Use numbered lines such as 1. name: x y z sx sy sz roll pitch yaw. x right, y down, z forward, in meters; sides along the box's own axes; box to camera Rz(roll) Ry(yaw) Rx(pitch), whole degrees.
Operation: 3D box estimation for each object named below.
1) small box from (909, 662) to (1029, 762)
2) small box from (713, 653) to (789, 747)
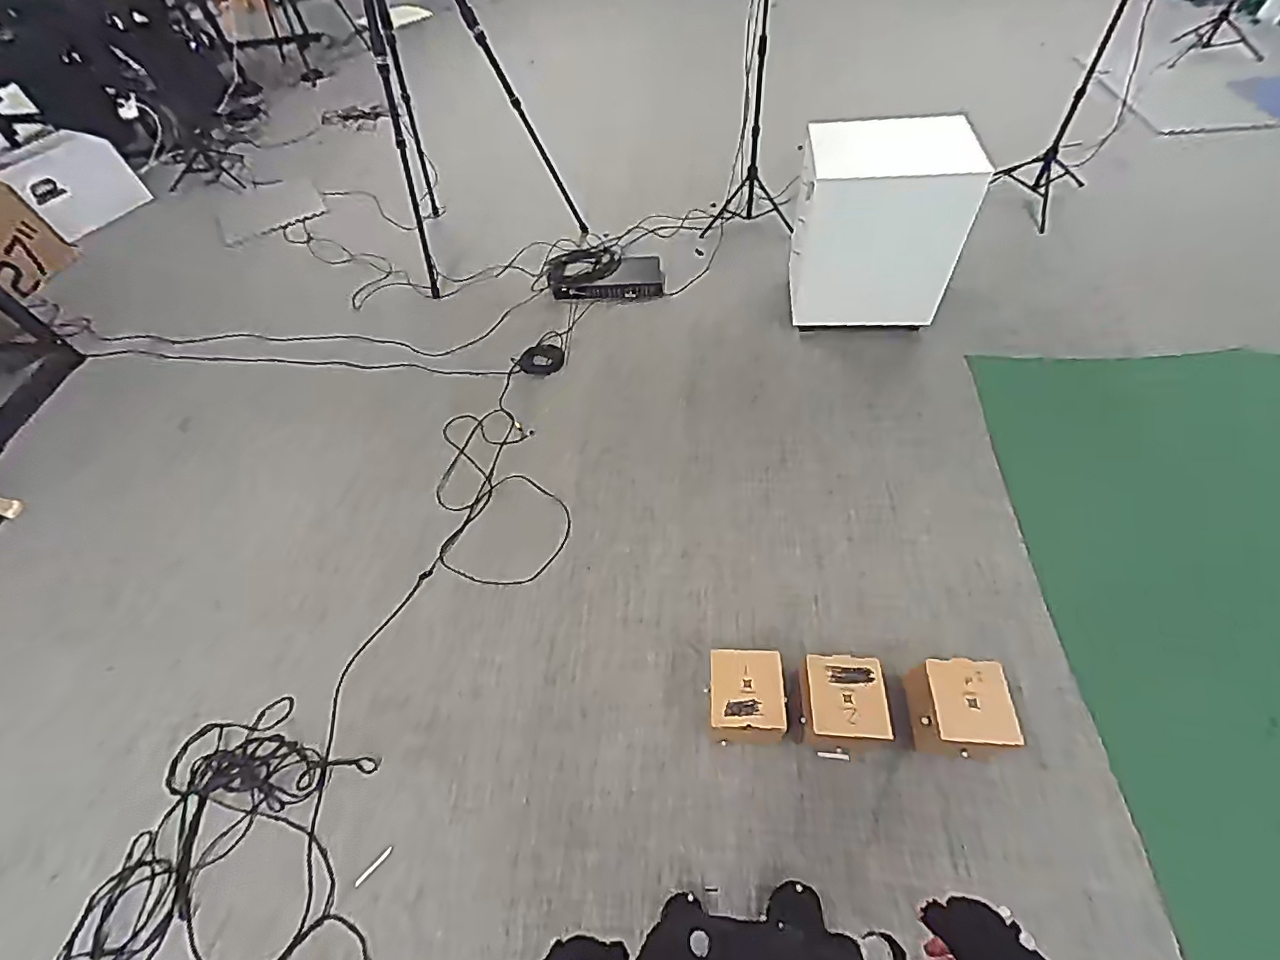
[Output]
1. small box: 0.736 0.531 1.232 0.168 0.176 0.179 1 54 7
2. small box: 0.259 0.528 1.290 0.168 0.176 0.179 -1 53 7
